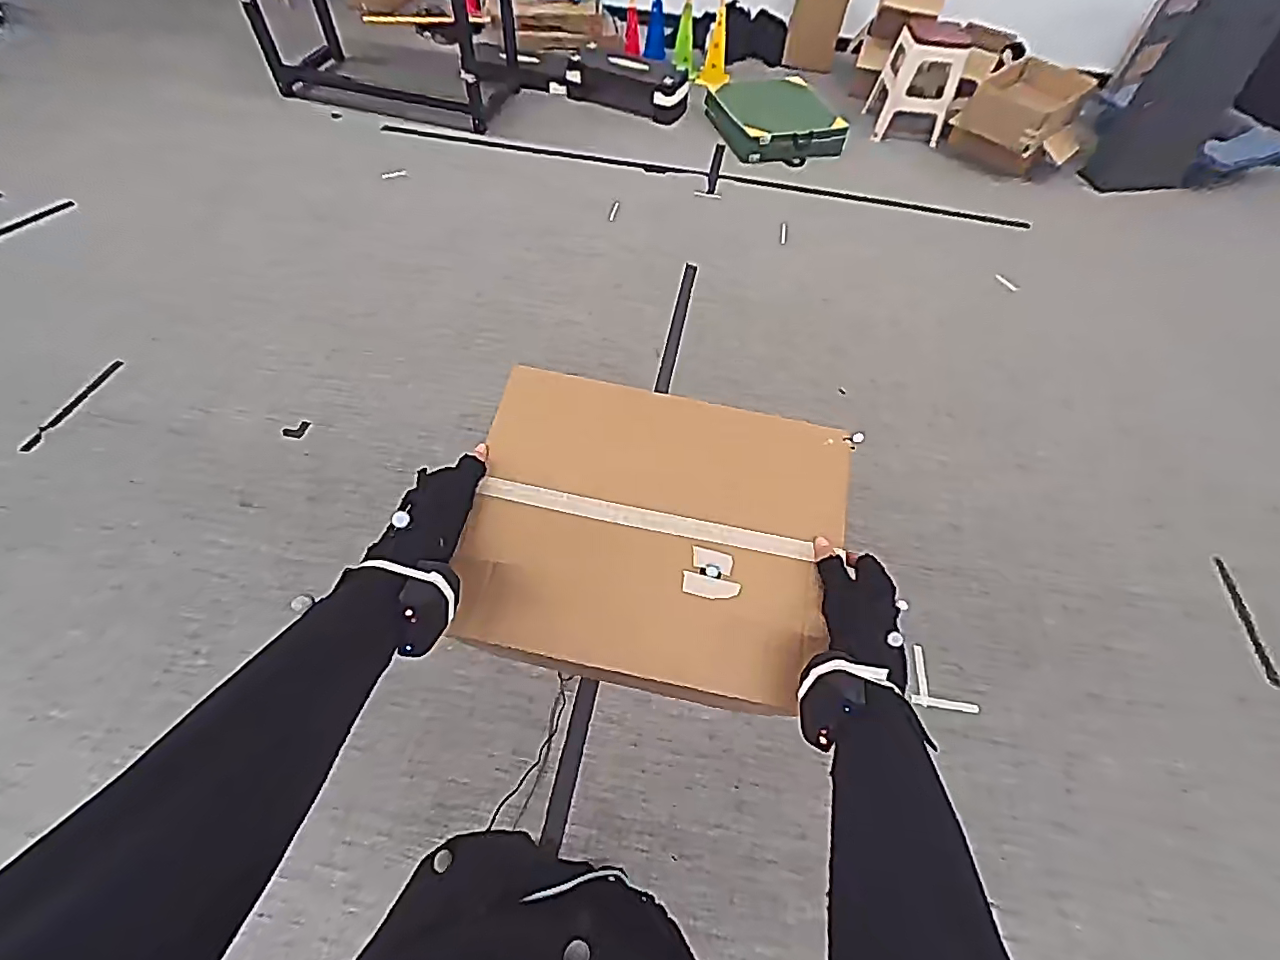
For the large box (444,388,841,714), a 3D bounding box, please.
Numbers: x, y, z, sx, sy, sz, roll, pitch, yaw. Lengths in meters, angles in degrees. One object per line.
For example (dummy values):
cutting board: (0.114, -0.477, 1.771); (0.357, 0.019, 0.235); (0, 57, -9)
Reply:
large box: (0.011, 0.116, 0.735); (0.408, 0.320, 0.320); (12, 68, 1)
